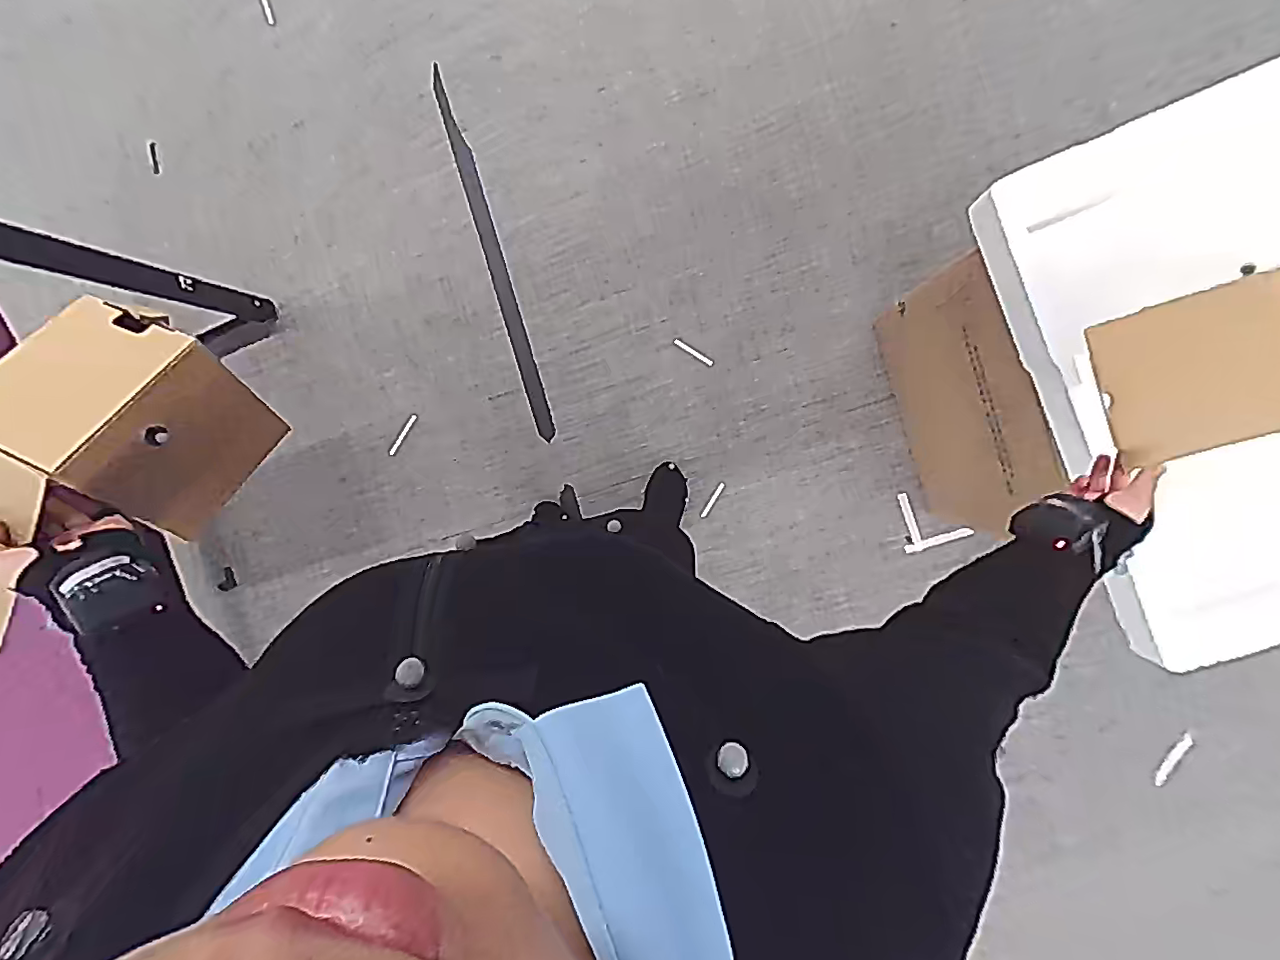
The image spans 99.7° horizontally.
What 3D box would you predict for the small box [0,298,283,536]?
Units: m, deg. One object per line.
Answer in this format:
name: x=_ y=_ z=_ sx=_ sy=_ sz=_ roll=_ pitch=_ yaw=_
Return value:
small box: x=-0.555 y=-0.062 z=0.602 sx=0.168 sy=0.176 sz=0.179 roll=21 pitch=64 yaw=12
